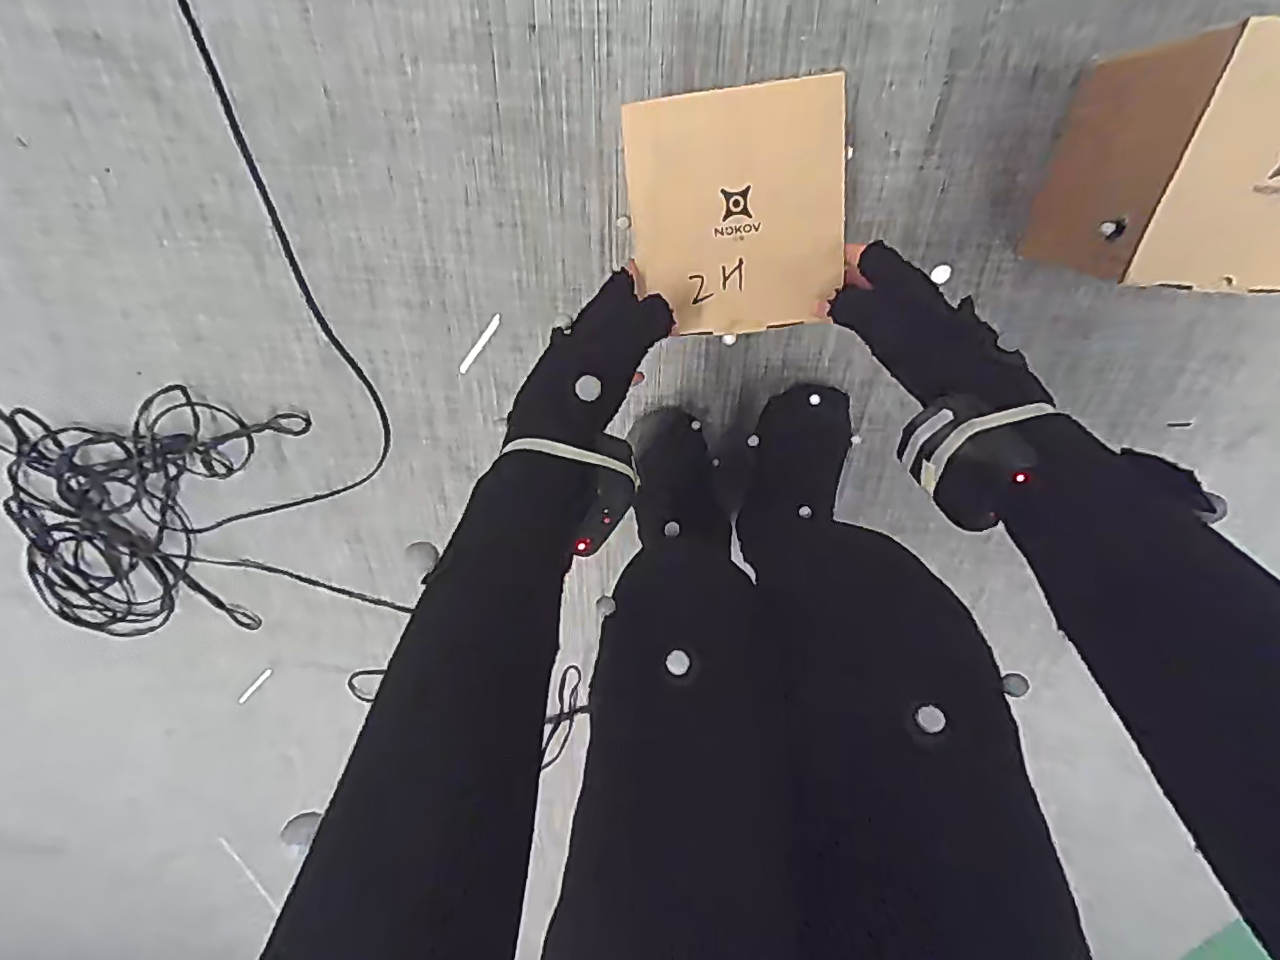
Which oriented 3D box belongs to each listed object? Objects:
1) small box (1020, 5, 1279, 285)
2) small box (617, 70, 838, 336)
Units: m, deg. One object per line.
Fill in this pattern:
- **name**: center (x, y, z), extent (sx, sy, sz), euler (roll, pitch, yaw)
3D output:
- **small box**: center (0.480, -0.279, 0.471), extent (0.168, 0.176, 0.179), euler (3, 122, 3)
- **small box**: center (0.075, -0.228, 0.494), extent (0.168, 0.176, 0.179), euler (-4, 105, 6)
